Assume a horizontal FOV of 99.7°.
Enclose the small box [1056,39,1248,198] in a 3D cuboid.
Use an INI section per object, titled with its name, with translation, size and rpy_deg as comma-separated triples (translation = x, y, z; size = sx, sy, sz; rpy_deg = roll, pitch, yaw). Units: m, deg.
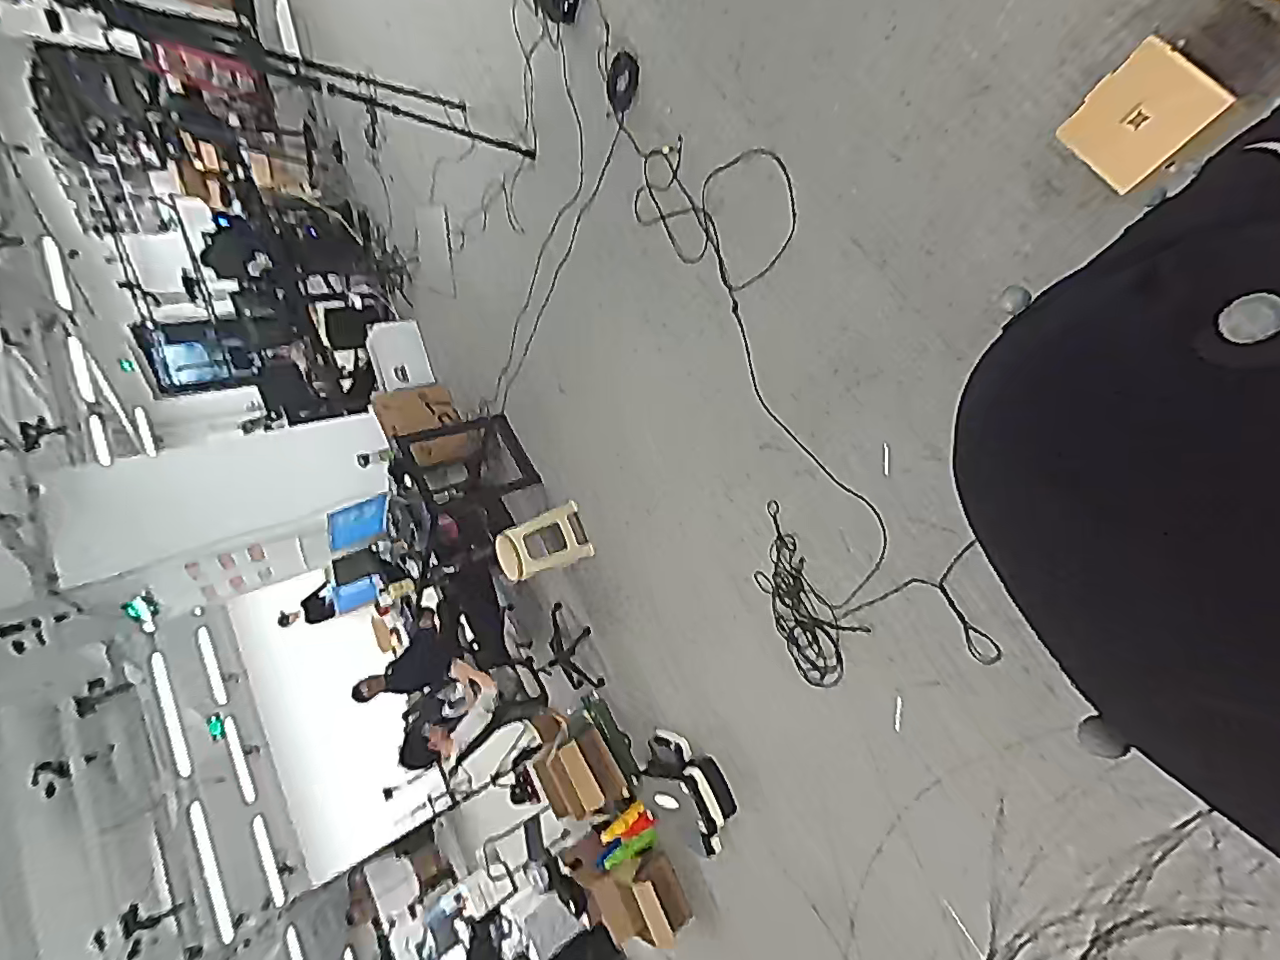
[small box]
translation = 0.904, -0.629, 0.956
size = 0.179, 0.176, 0.168
rpy_deg = 59, 144, 17
